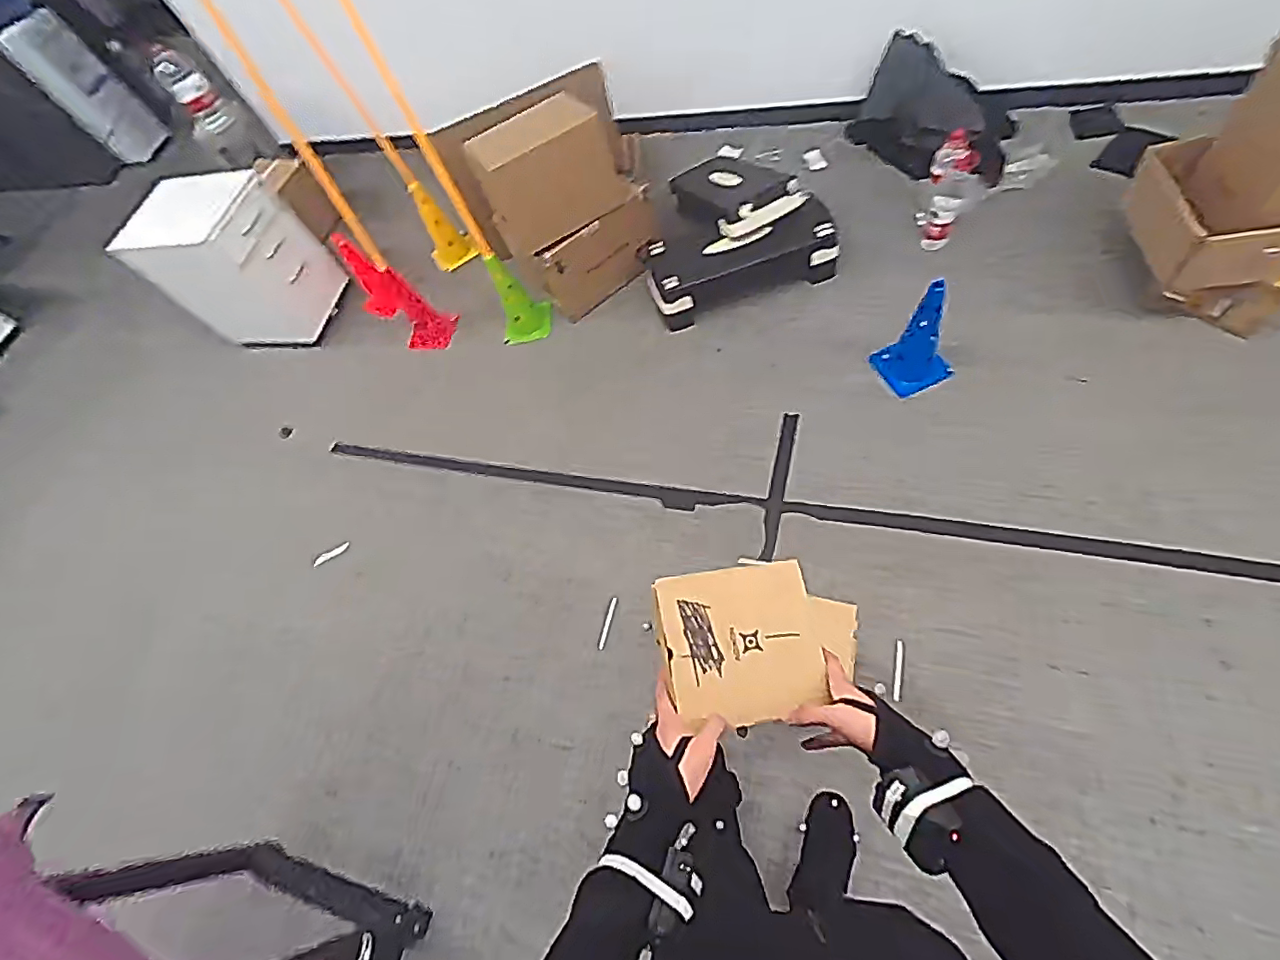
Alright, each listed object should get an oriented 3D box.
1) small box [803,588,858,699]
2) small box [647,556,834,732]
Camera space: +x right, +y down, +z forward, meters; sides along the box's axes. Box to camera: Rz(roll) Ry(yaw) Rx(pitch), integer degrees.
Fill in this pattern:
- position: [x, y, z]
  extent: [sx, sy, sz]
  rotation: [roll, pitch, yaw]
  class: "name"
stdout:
- position: [0.331, 0.327, 1.090]
  extent: [0.168, 0.176, 0.179]
  rotation: [10, 67, 18]
  class: "small box"
- position: [0.107, 0.205, 0.665]
  extent: [0.179, 0.176, 0.168]
  rotation: [-9, 68, -5]
  class: "small box"
